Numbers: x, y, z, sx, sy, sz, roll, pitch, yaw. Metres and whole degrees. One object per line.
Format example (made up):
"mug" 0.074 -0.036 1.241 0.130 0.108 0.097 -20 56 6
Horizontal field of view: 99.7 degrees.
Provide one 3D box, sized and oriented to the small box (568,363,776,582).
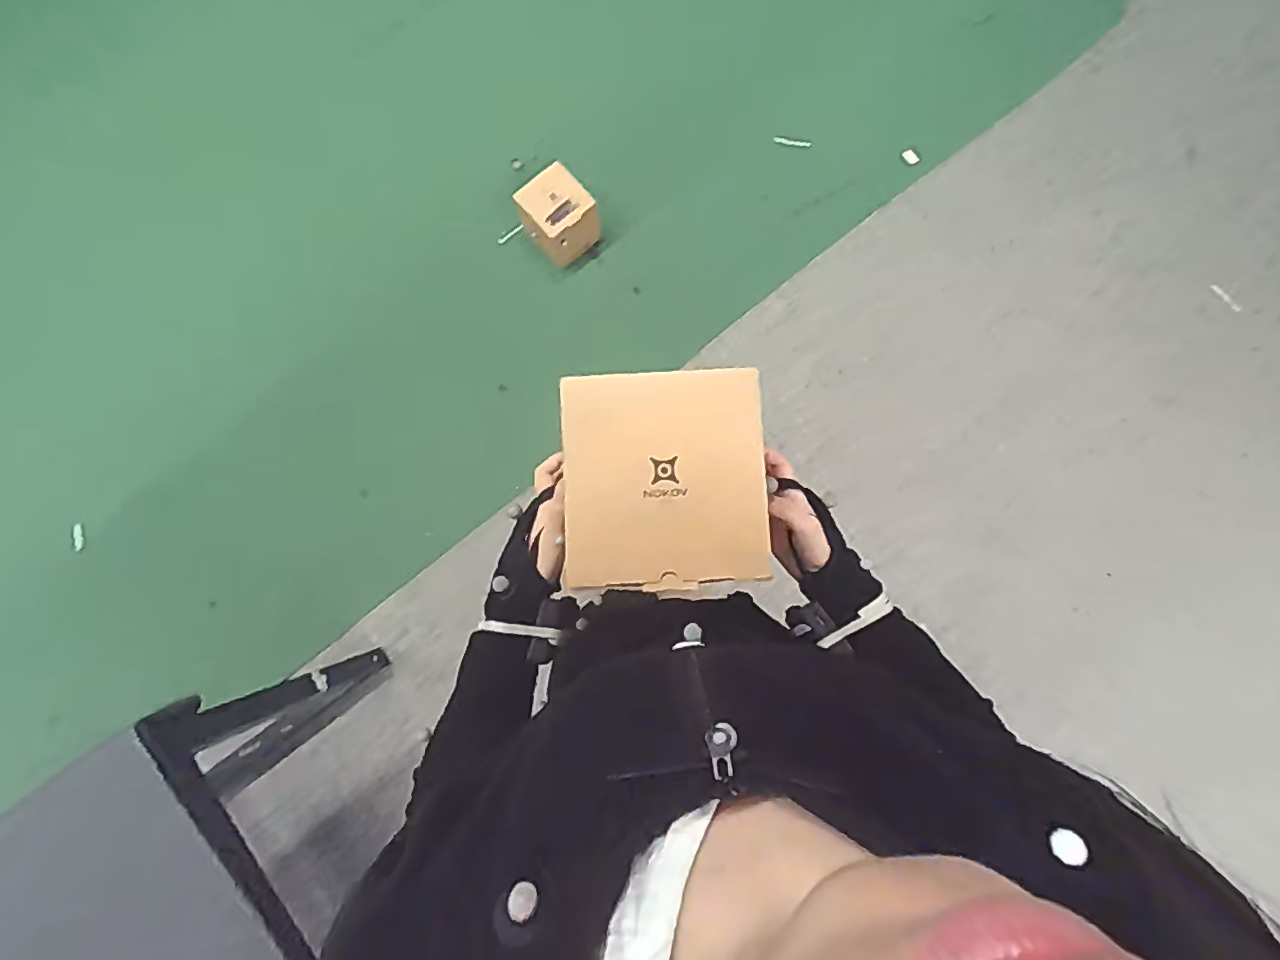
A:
"small box" 0.022 0.000 0.512 0.168 0.176 0.179 -2 85 -1
